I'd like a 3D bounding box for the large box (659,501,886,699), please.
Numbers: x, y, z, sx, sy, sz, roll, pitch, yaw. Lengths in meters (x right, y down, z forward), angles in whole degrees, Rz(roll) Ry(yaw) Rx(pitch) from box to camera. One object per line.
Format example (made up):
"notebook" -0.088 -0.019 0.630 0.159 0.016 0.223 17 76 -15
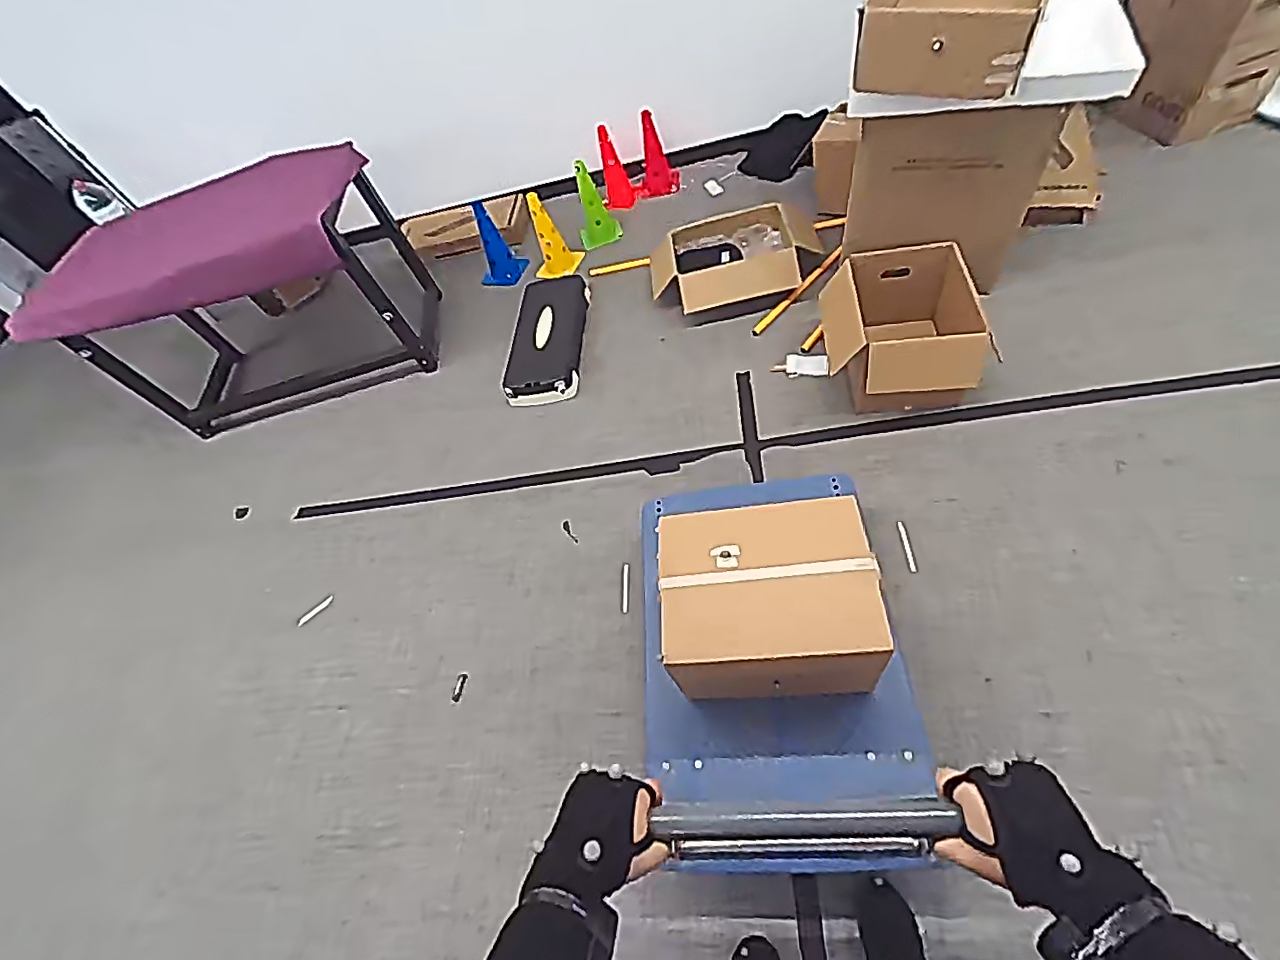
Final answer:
"large box" 0.272 0.278 1.179 0.408 0.320 0.320 -8 55 11
